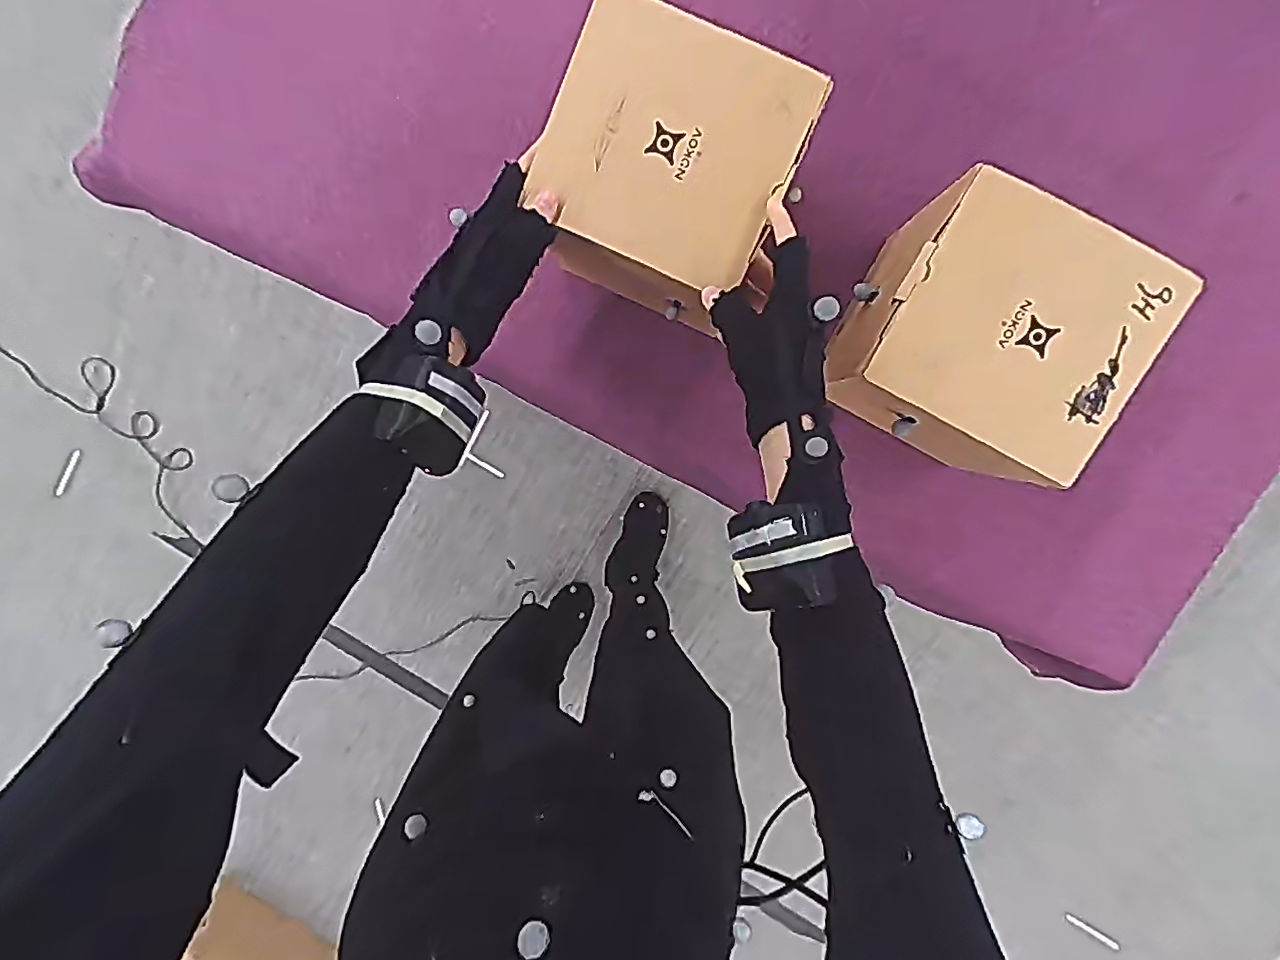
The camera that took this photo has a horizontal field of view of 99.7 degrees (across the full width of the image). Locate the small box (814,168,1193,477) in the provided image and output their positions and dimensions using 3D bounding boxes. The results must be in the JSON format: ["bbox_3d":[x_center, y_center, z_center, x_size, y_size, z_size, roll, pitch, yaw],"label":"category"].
[{"bbox_3d":[0.277,-0.117,0.465,0.179,0.176,0.168,28,97,1],"label":"small box"}]

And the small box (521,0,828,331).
[{"bbox_3d":[0.027,-0.242,0.467,0.179,0.176,0.168,23,96,2],"label":"small box"}]
